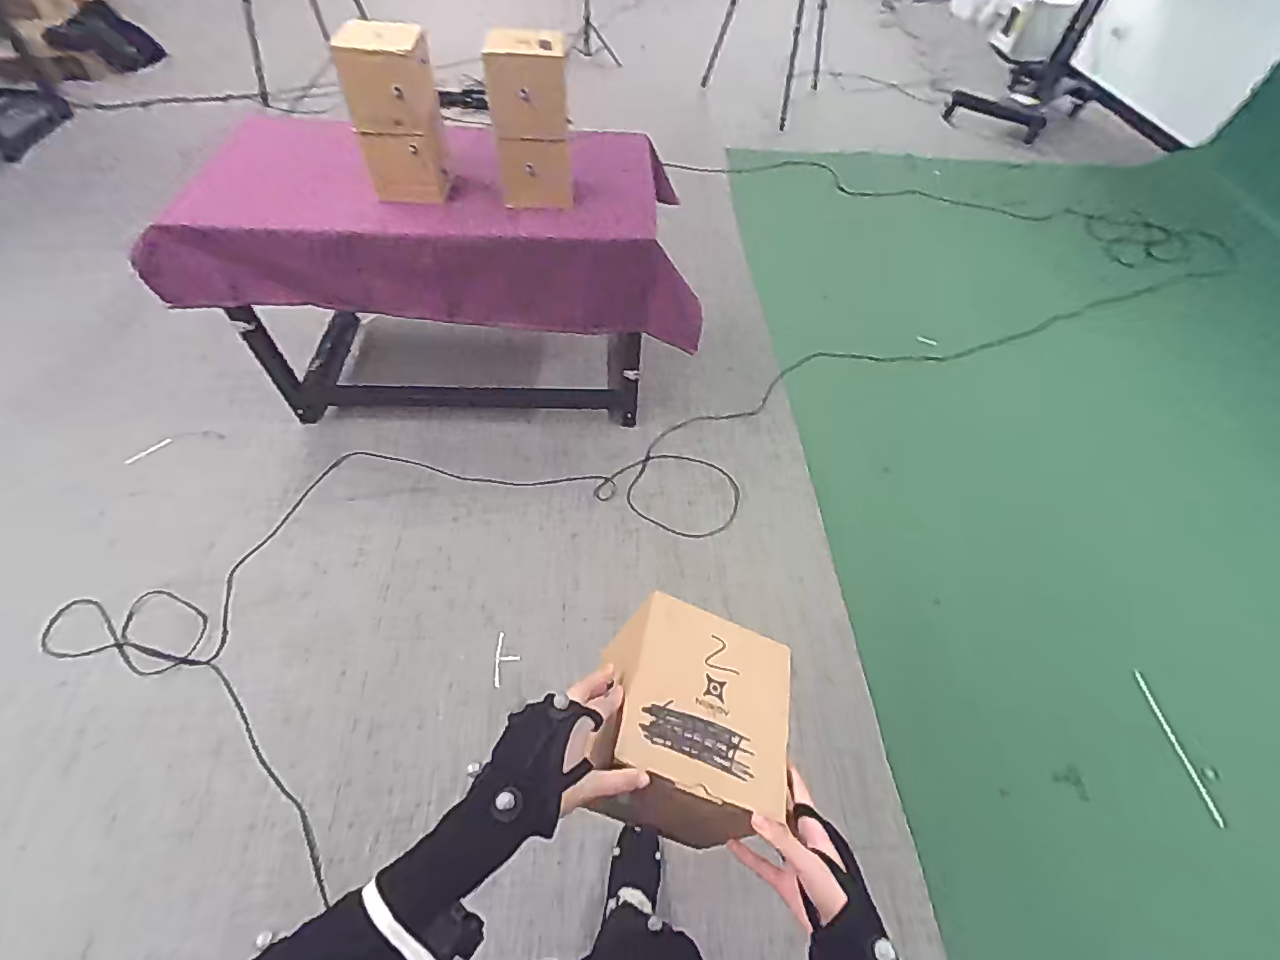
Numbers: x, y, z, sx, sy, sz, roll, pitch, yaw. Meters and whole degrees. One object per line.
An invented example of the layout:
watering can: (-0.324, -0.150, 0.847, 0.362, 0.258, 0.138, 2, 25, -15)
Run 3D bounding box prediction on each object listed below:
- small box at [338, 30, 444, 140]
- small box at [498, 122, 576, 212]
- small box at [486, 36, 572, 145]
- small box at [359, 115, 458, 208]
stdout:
small box: (-0.573, -0.923, 1.270, 0.168, 0.176, 0.179, 1, 53, -5)
small box: (-0.262, -0.820, 1.412, 0.179, 0.176, 0.168, -2, 54, -4)
small box: (-0.254, -0.915, 1.278, 0.179, 0.176, 0.168, -1, 53, -4)
small box: (-0.589, -0.827, 1.400, 0.179, 0.176, 0.168, 2, 53, -4)
